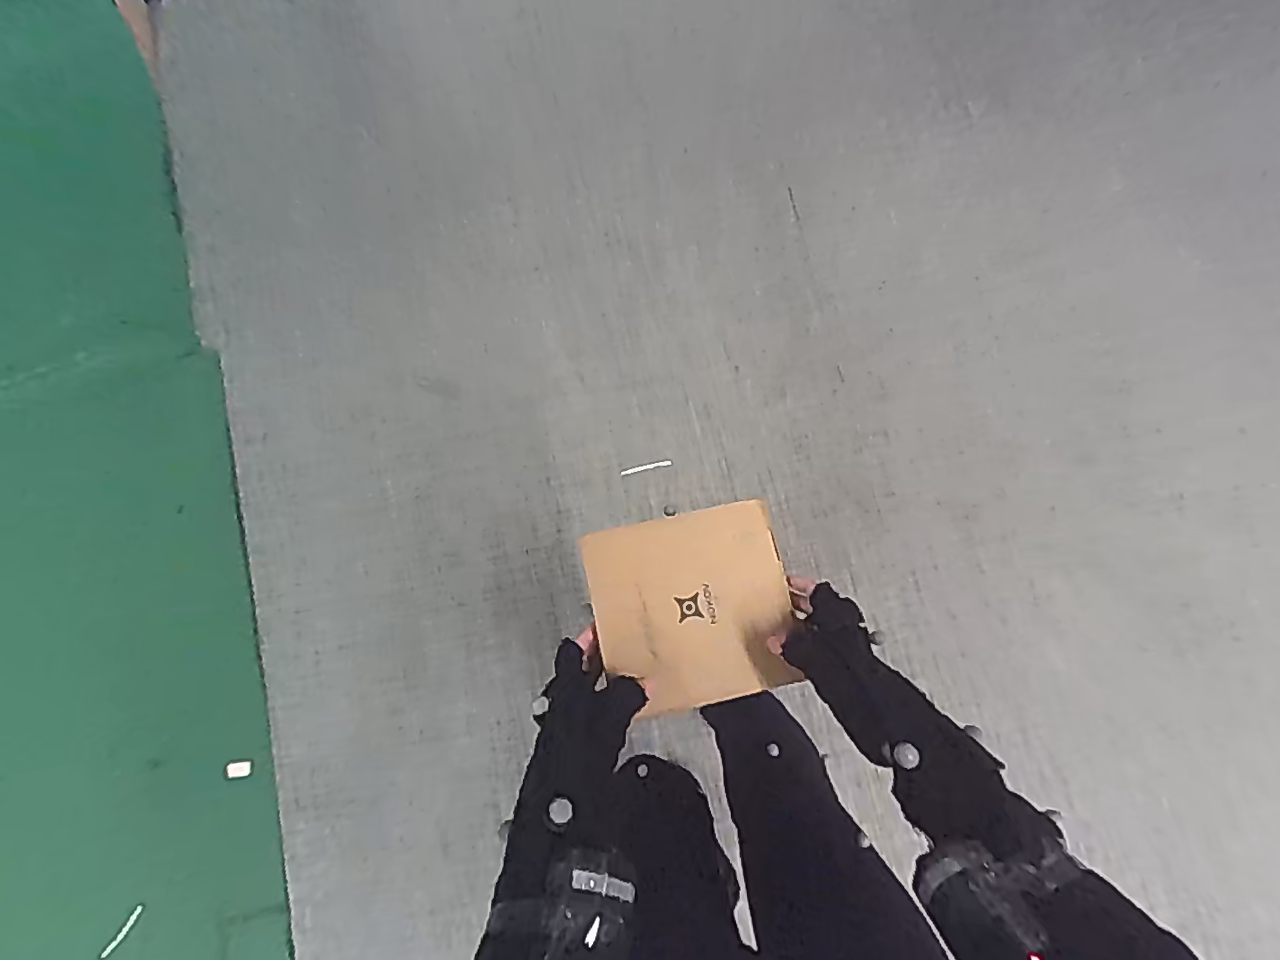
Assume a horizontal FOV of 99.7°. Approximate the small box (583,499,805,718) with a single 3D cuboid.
[{"bbox_3d":[0.044,0.125,0.566,0.179,0.176,0.168,-13,80,-4],"label":"small box"}]
